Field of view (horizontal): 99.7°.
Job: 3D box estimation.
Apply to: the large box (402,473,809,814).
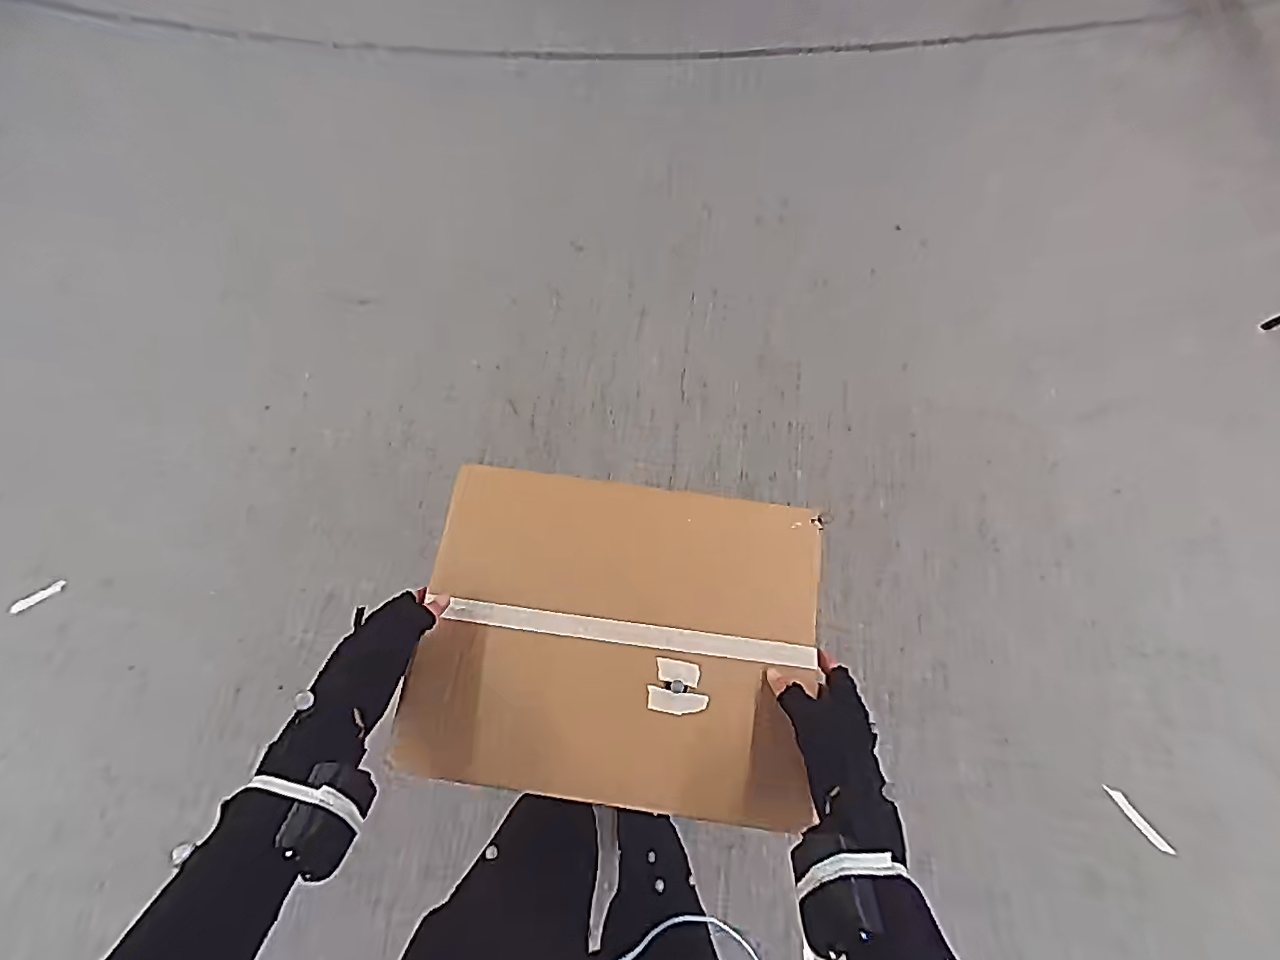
[{"bbox_3d":[-0.026,0.205,0.716,0.408,0.320,0.320,8,73,2],"label":"large box"}]
